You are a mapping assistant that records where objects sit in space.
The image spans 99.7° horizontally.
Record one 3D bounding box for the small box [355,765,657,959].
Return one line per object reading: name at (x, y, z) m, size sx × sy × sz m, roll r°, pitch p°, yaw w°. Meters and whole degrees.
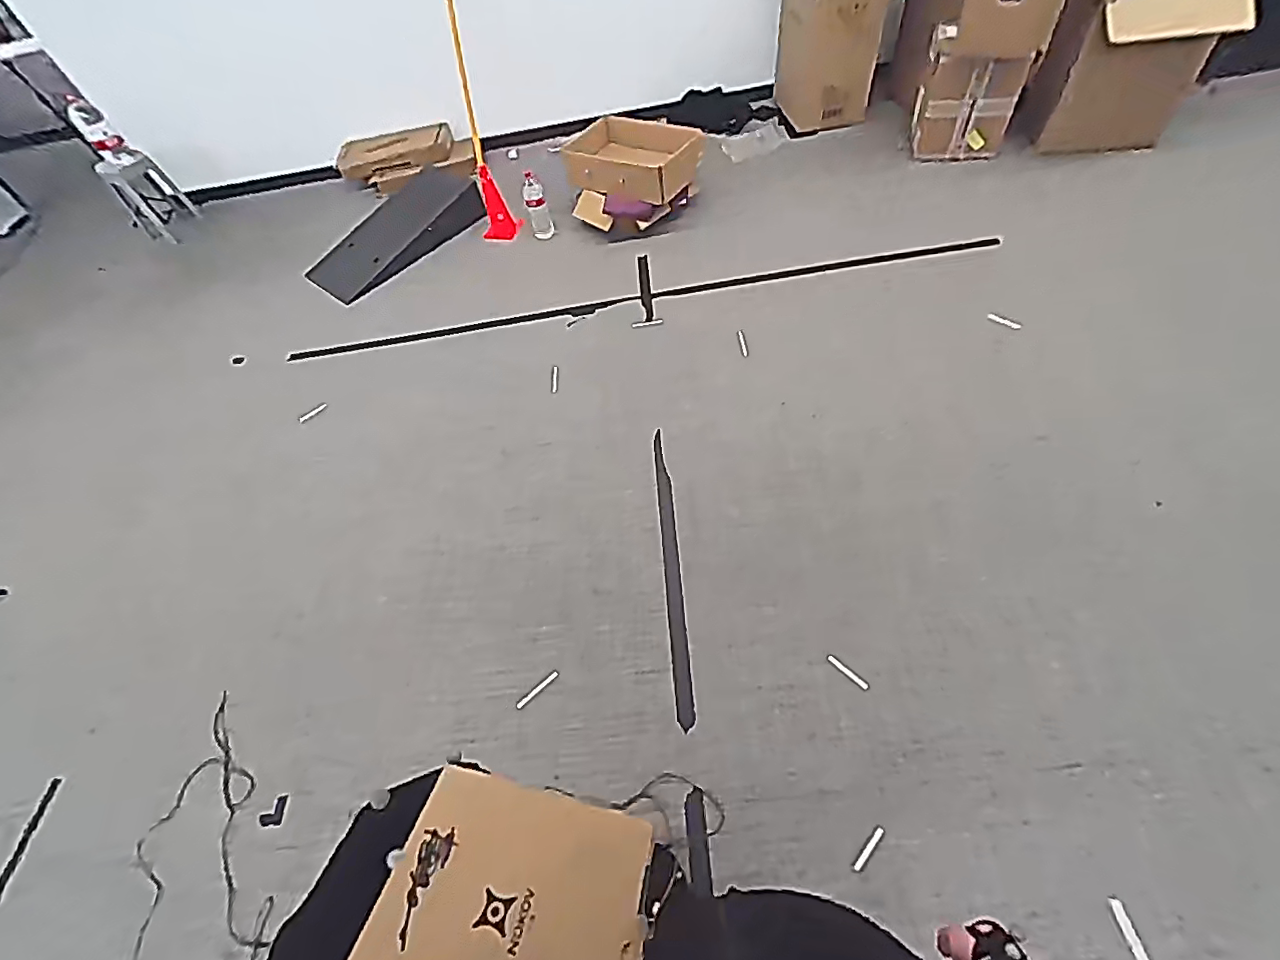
small box at (-0.097, 0.360, 0.417) m, size 0.179 × 0.176 × 0.168 m, roll 13°, pitch 37°, yaw 6°
